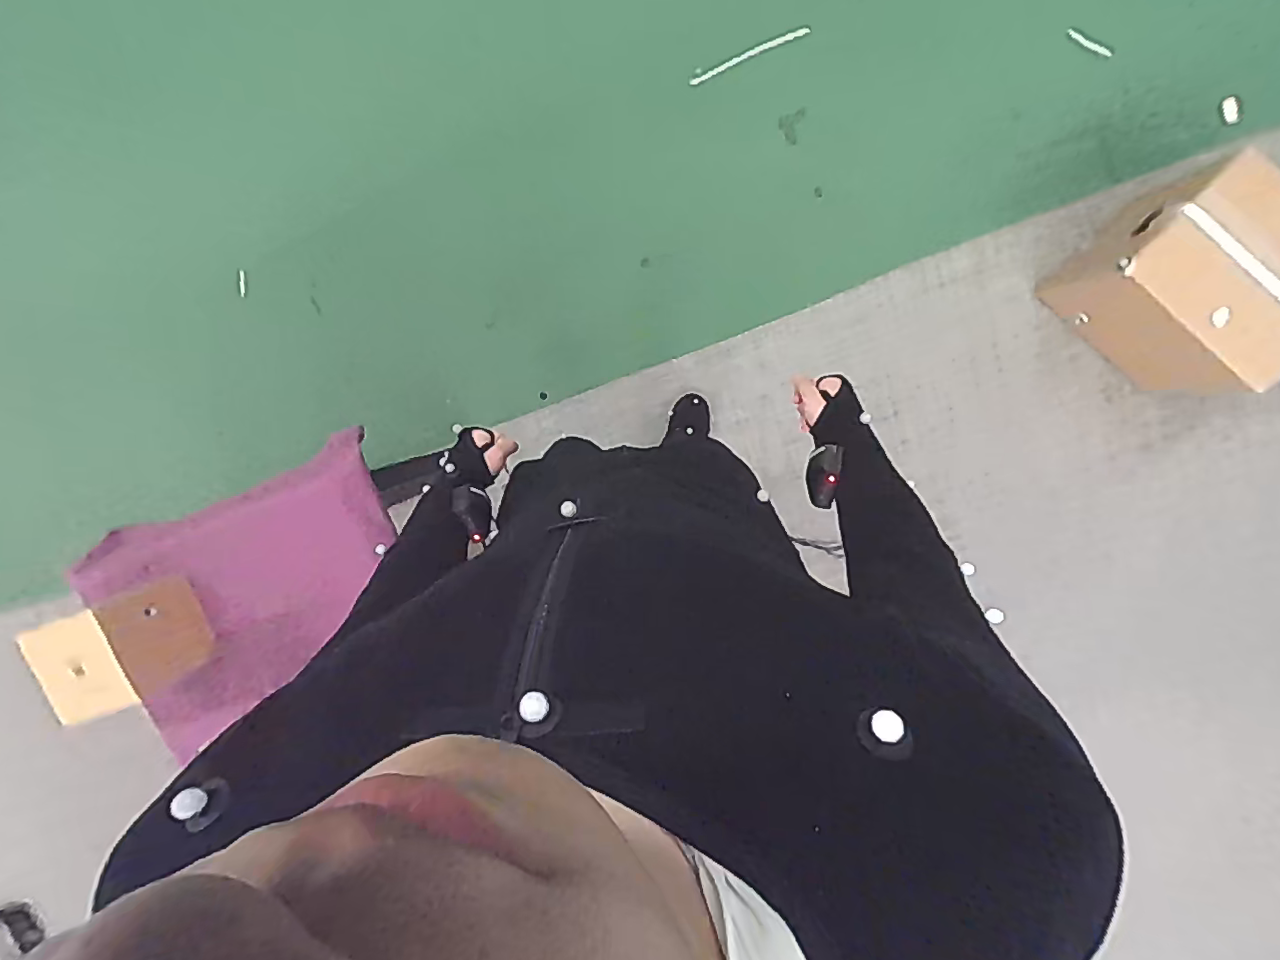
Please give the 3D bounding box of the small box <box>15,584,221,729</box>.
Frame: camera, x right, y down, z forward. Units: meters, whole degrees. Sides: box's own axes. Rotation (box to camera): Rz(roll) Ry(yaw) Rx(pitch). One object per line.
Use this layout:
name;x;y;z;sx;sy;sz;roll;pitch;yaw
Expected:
small box;-0.916;0.301;0.966;0.168;0.176;0.179;-19;99;8

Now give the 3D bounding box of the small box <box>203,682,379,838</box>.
small box;-0.613;0.489;0.972;0.168;0.176;0.179;-19;99;9
